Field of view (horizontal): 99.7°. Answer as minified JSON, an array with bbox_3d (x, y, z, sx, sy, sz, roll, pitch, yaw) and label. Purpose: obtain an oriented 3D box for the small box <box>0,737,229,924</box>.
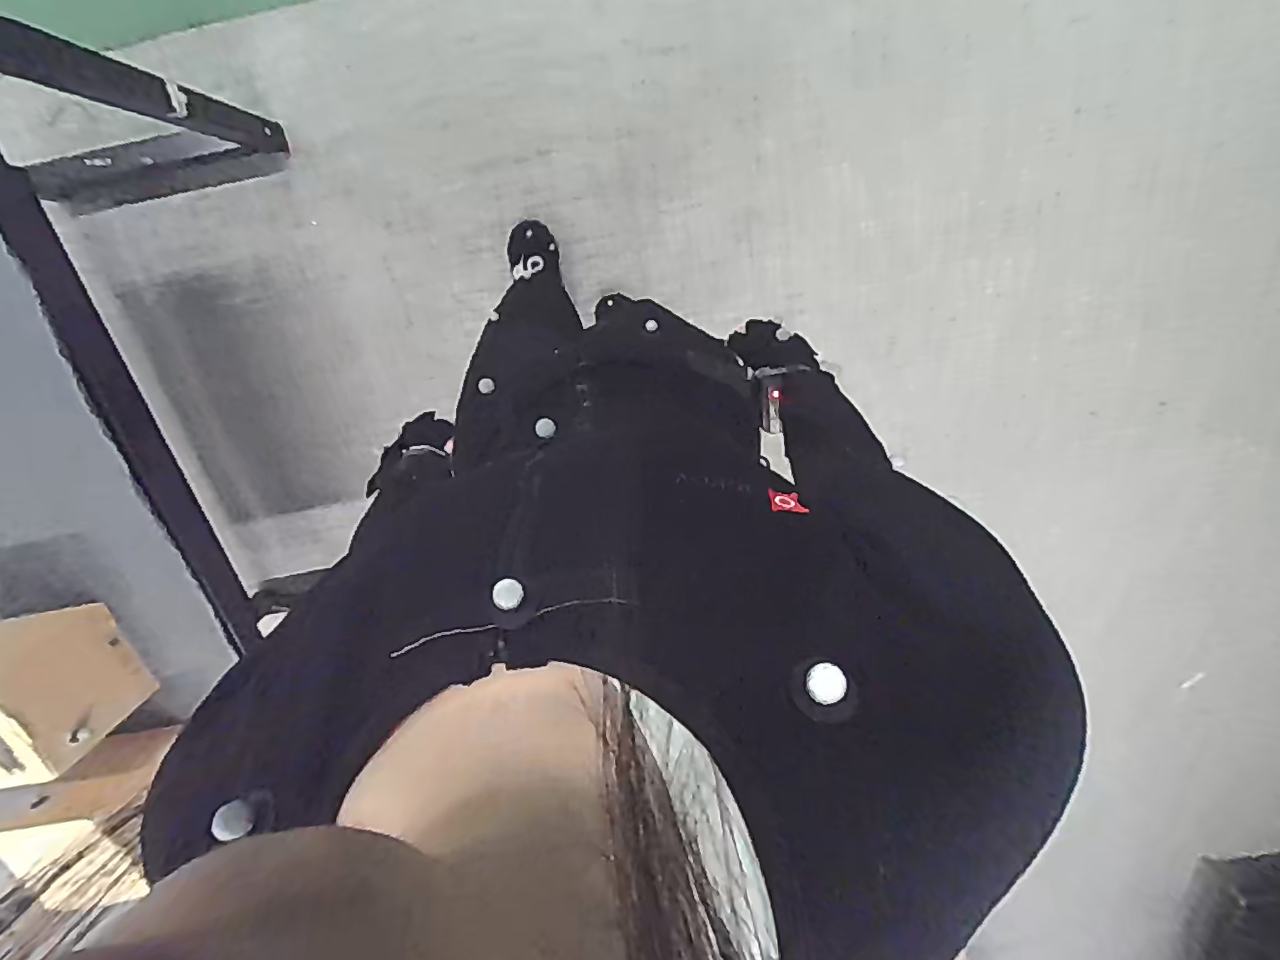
[{"bbox_3d":[-0.797,0.528,0.830,0.179,0.176,0.168,-12,110,4],"label":"small box"}]
